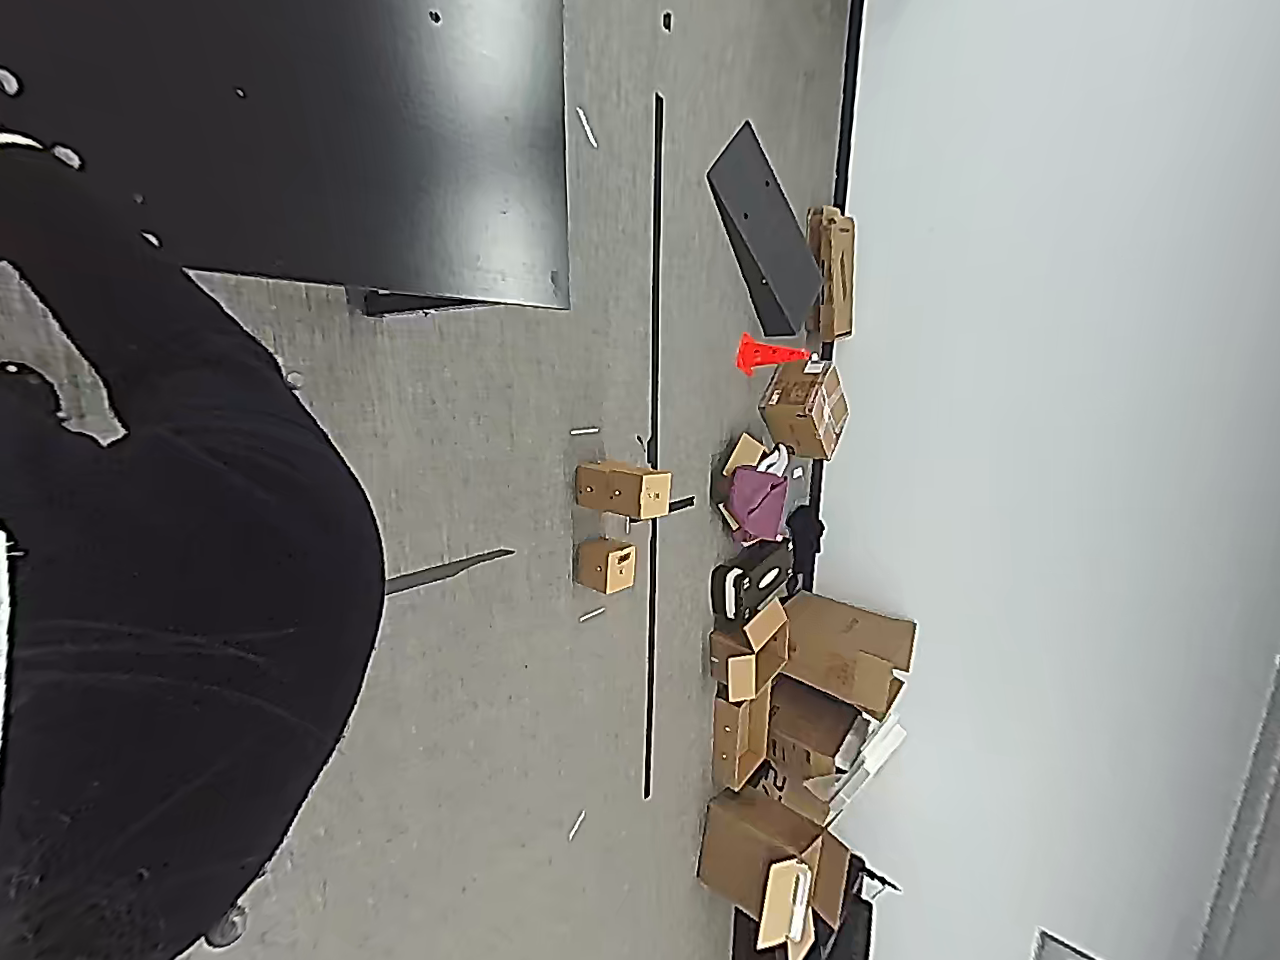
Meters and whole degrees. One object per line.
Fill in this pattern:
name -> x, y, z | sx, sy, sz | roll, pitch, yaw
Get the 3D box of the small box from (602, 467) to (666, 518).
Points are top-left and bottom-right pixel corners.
small box -> -0.023, 0.042, 2.062 | 0.179, 0.176, 0.168 | -6, 102, -51

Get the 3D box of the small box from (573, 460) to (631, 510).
small box -> -0.153, 0.016, 2.162 | 0.179, 0.176, 0.168 | -14, 109, -49

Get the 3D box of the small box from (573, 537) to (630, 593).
small box -> -0.161, 0.343, 2.233 | 0.168, 0.176, 0.179 | -8, 106, -50
